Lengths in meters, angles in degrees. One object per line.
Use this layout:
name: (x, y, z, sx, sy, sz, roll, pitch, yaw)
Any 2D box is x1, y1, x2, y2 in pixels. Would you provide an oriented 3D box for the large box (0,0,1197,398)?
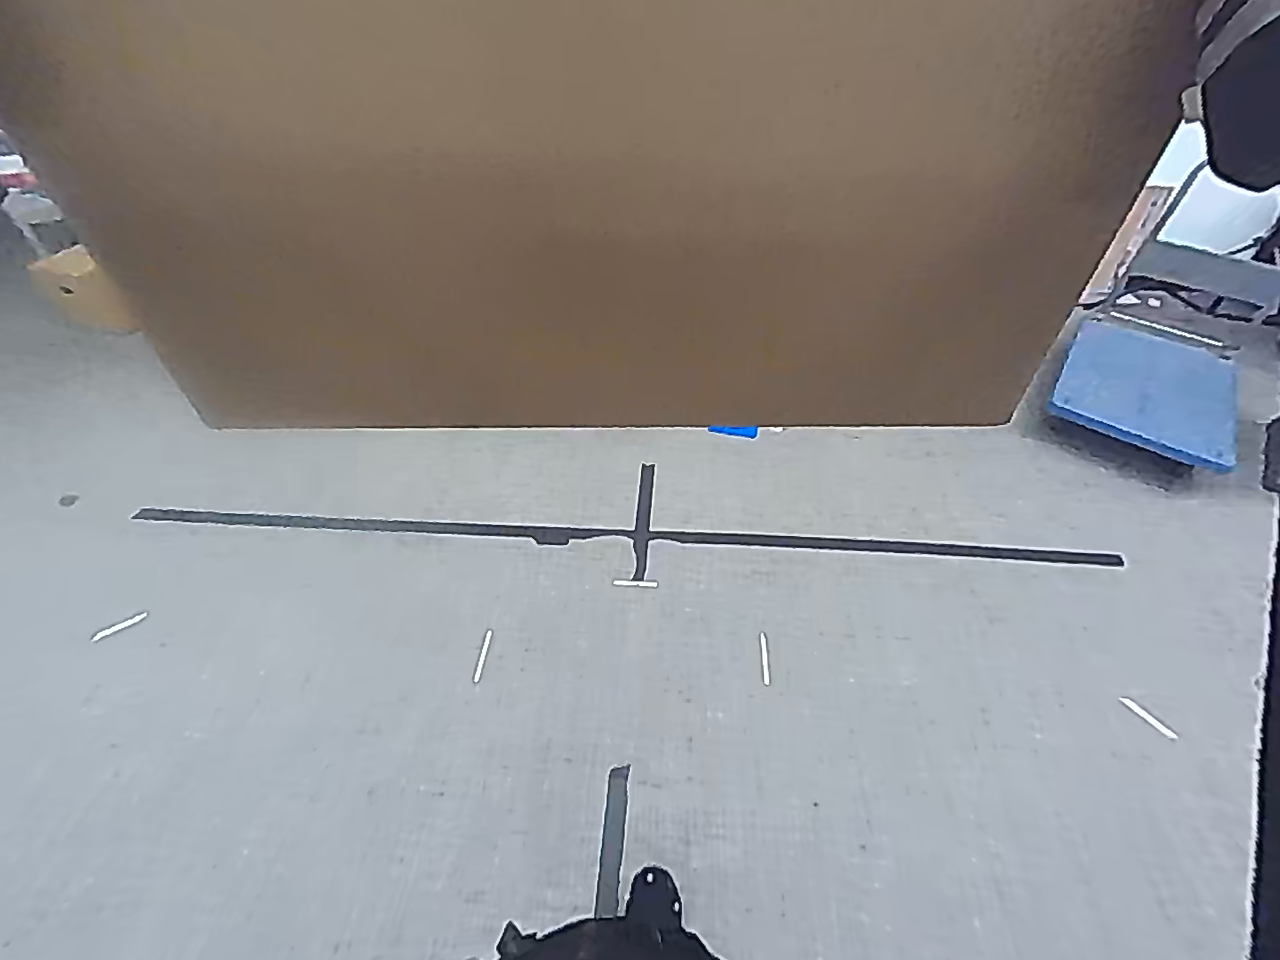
large box: (-0.014, -0.252, 0.289, 0.408, 0.320, 0.320, 0, 43, -1)
